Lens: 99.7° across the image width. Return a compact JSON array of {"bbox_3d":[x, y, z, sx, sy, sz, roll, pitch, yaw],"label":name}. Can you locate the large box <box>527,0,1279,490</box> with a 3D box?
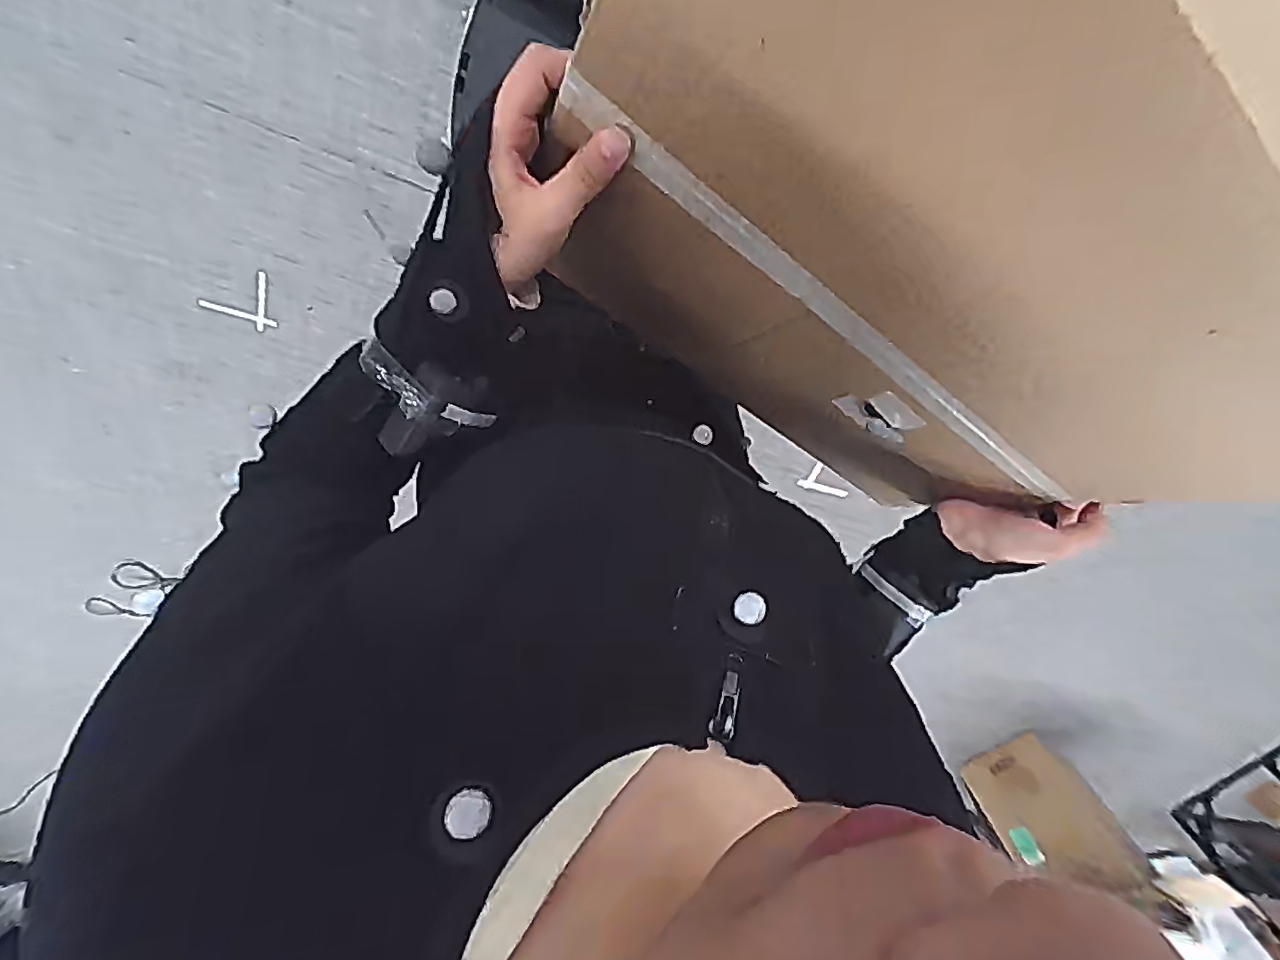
[{"bbox_3d":[0.206,-0.228,0.315,0.408,0.320,0.320,30,75,-19],"label":"large box"}]
